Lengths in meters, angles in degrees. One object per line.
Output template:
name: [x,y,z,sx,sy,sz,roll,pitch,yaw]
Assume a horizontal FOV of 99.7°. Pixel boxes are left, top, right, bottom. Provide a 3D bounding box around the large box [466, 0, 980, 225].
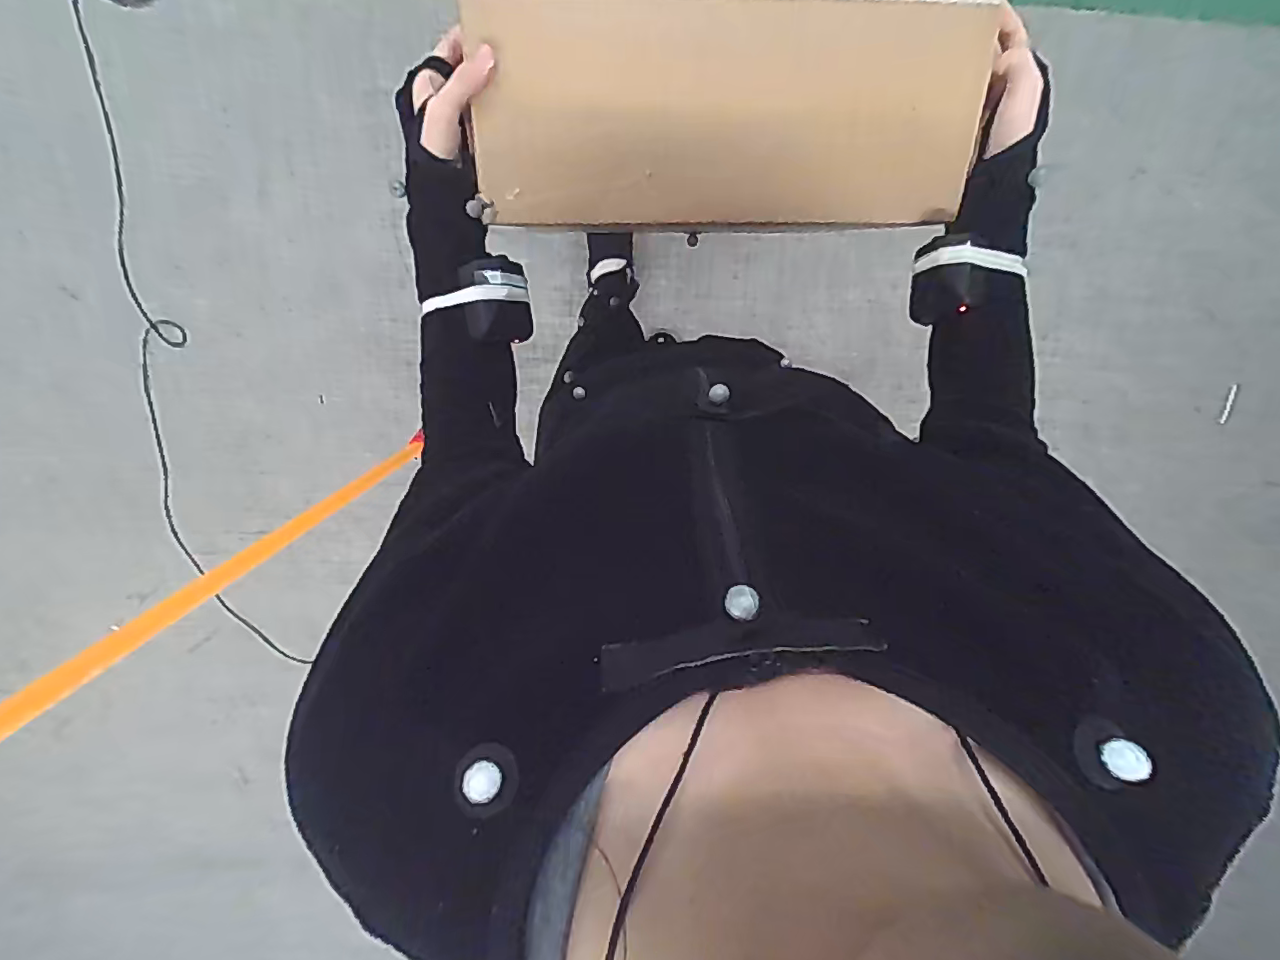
large box: [0.060,-0.431,0.542,0.408,0.320,0.320,-2,113,-3]
